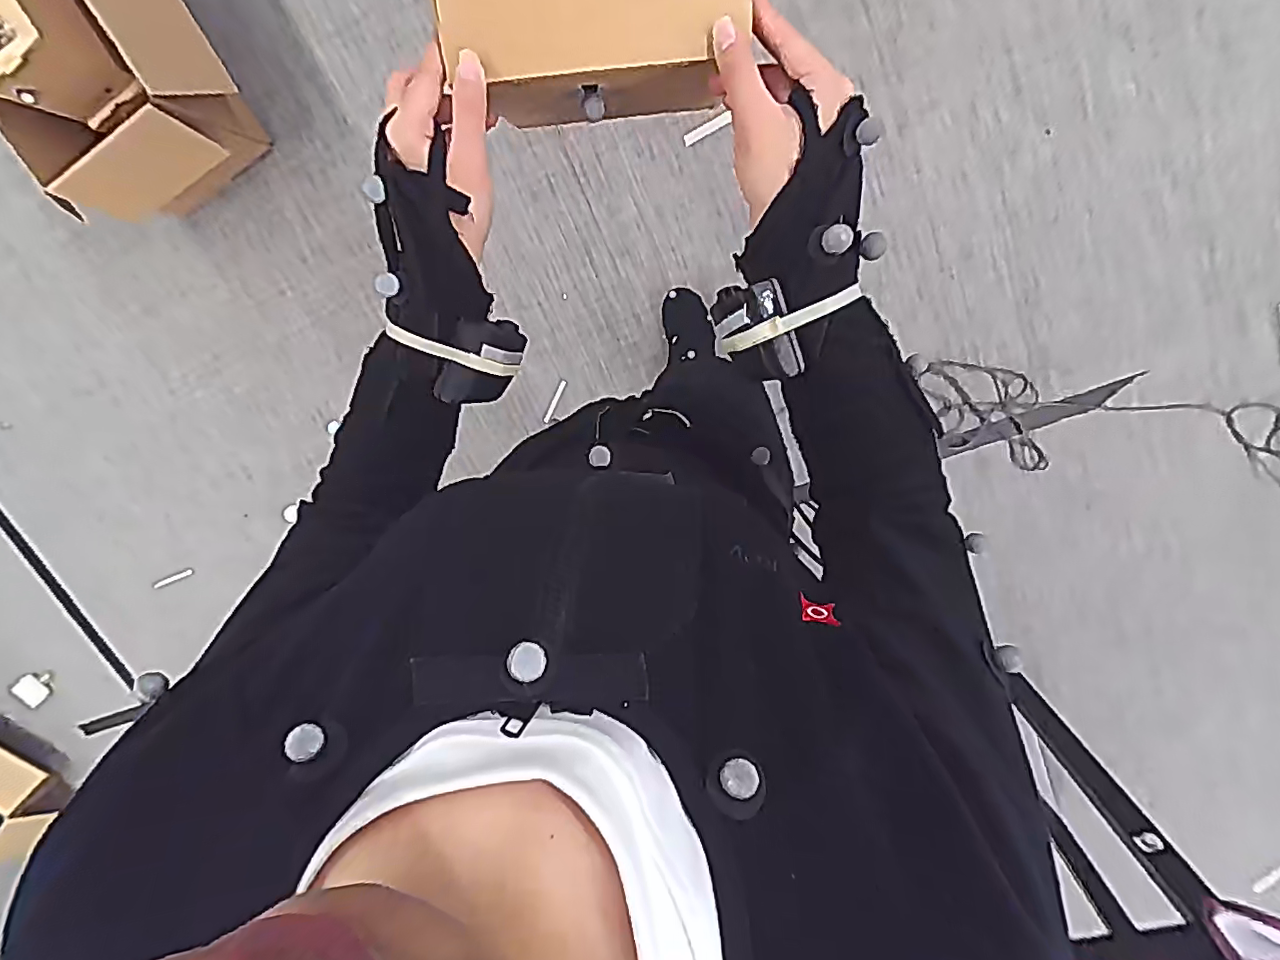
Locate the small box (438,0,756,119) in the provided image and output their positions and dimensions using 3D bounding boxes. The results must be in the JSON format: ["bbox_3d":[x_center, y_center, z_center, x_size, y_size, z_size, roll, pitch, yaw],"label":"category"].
[{"bbox_3d":[-0.026,-0.344,0.343,0.179,0.176,0.168,-3,116,4],"label":"small box"}]
